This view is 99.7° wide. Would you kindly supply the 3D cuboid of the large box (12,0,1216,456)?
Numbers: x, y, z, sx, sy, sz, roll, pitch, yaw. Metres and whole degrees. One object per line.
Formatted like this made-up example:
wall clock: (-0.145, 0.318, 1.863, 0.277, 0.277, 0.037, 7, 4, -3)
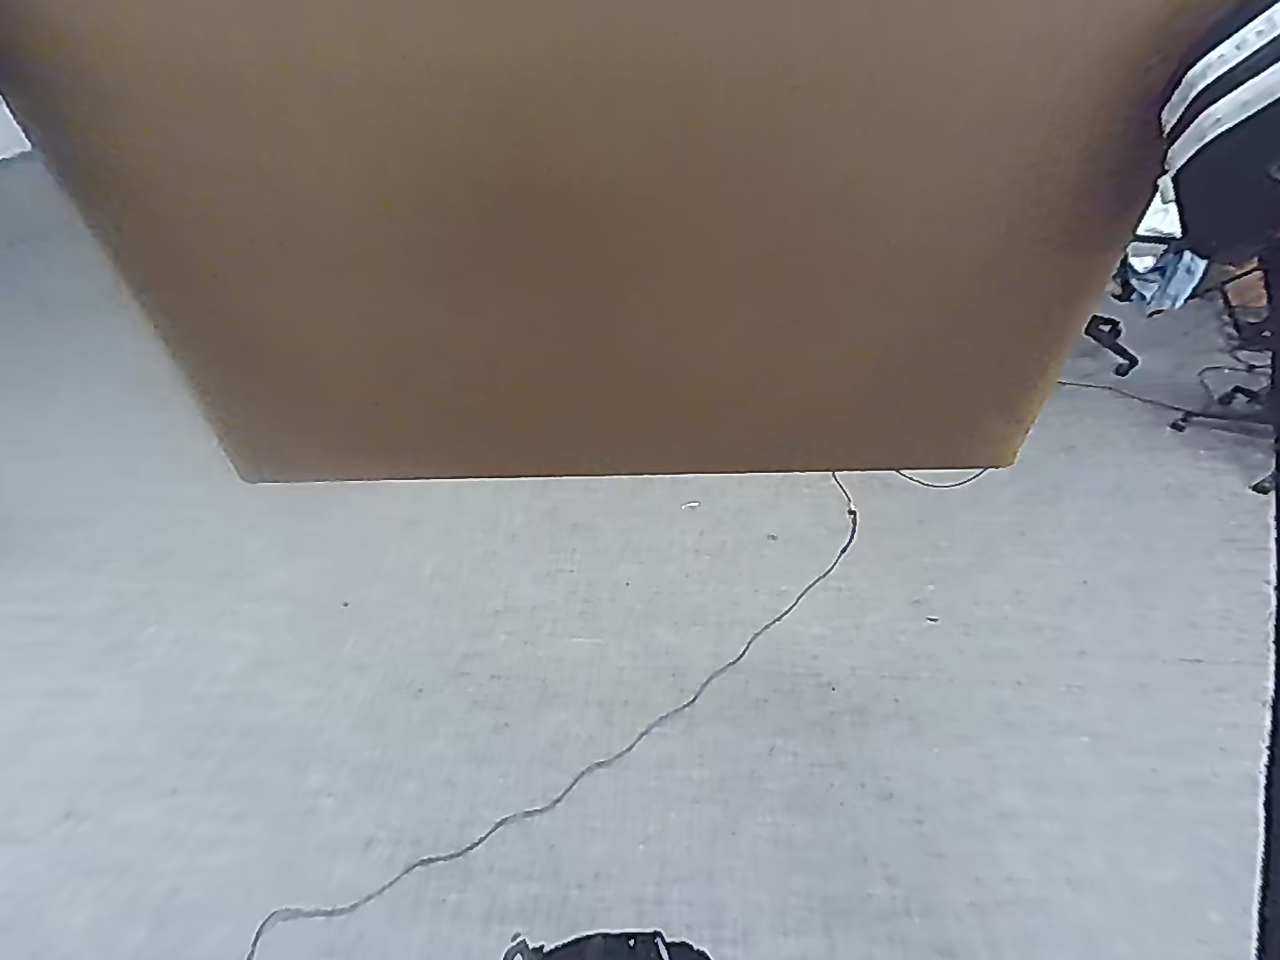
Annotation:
large box: (-0.009, -0.223, 0.310, 0.408, 0.320, 0.320, 0, 40, -1)
